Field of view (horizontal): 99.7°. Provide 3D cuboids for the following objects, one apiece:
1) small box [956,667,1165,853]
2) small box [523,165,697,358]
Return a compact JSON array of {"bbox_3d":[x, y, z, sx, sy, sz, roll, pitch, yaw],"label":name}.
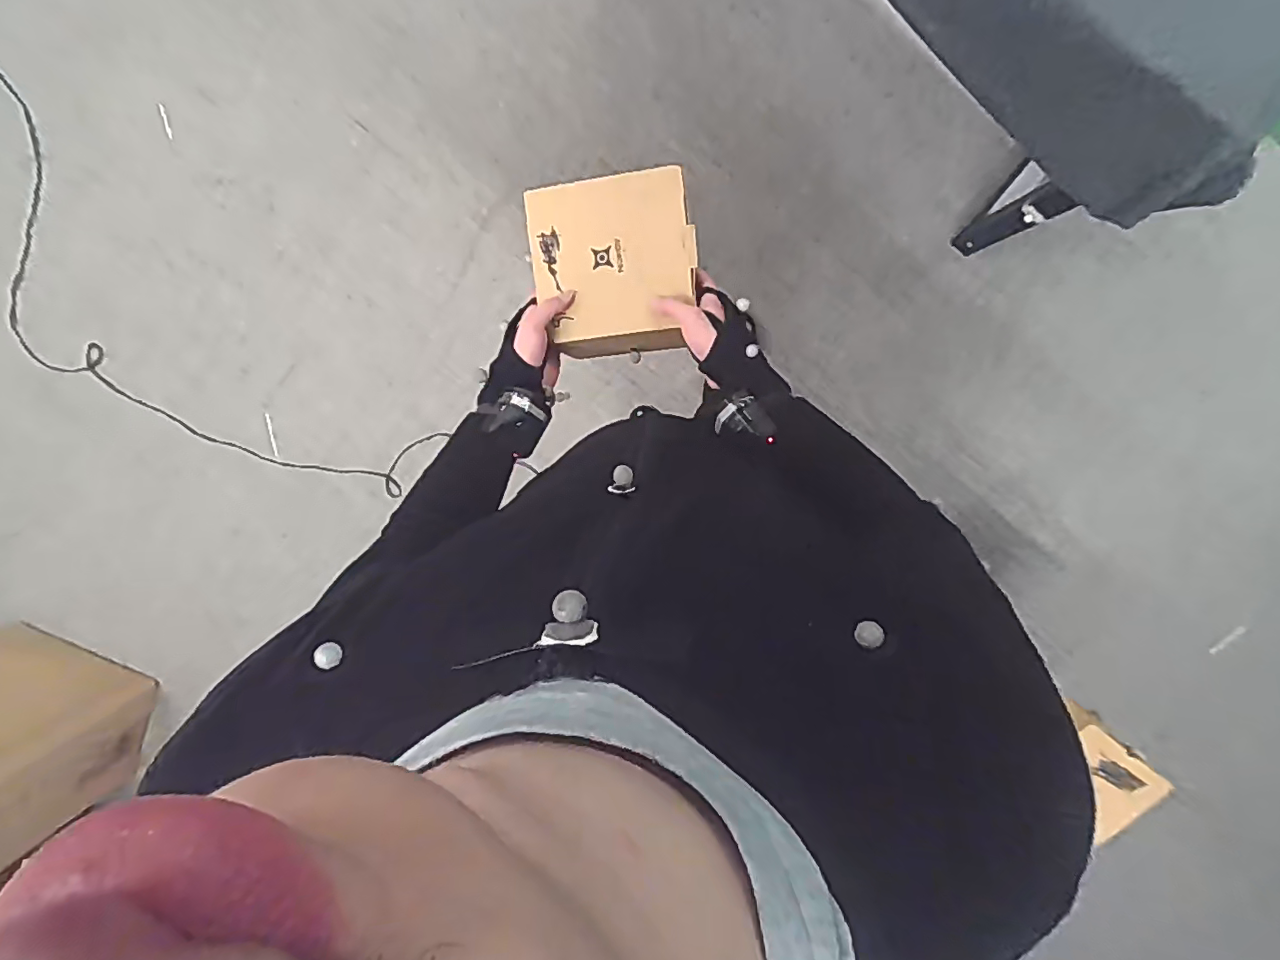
[{"bbox_3d":[0.672,0.448,0.892,0.168,0.176,0.179,38,104,-3],"label":"small box"},{"bbox_3d":[-0.025,-0.246,0.652,0.179,0.176,0.168,-5,95,7],"label":"small box"}]
